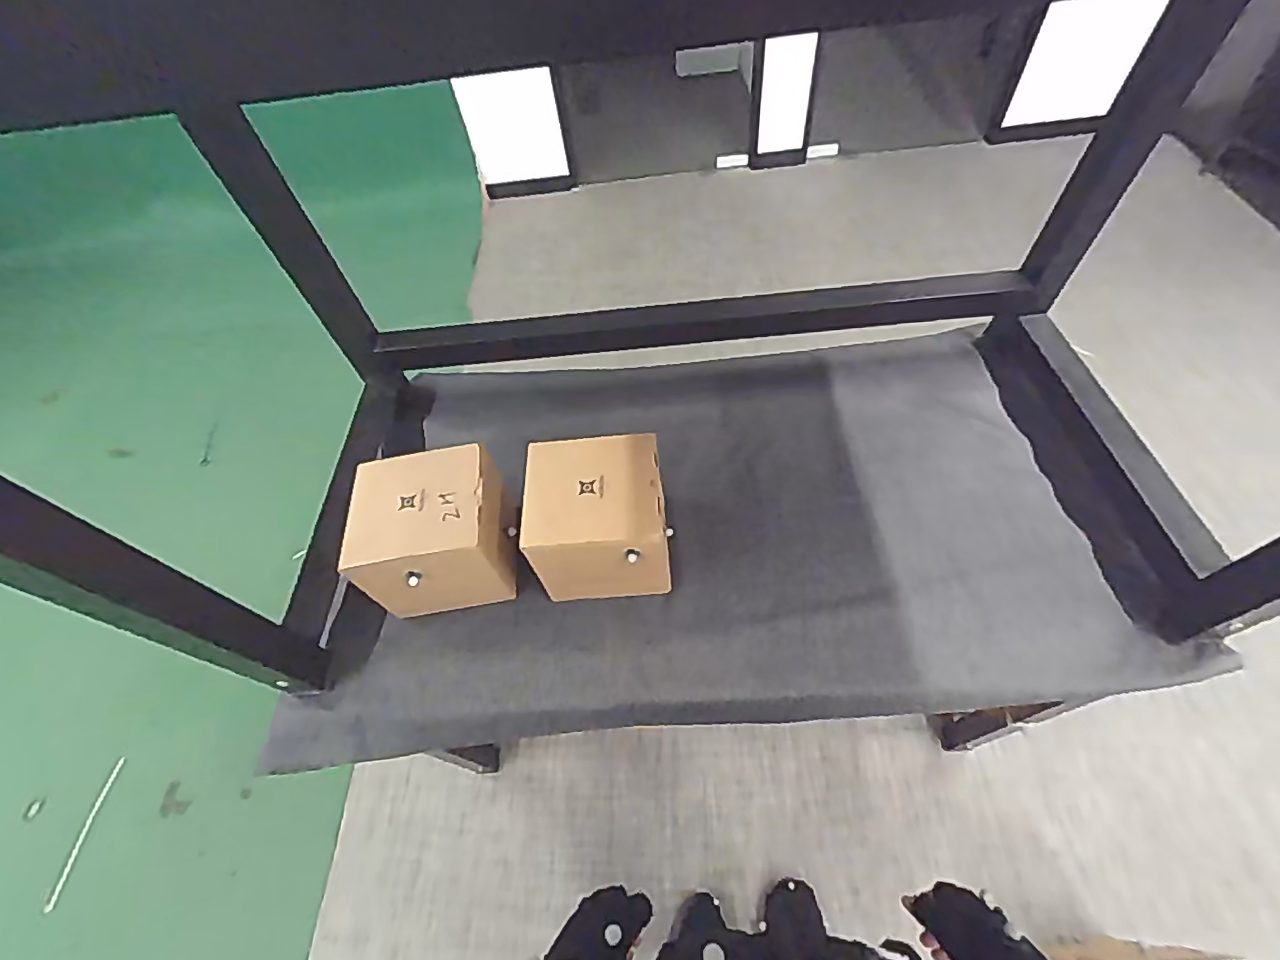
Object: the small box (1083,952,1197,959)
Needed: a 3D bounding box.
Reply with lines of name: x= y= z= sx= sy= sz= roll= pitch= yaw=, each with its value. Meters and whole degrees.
small box: x=0.820 y=0.830 z=0.801 sx=0.168 sy=0.176 sz=0.179 roll=-7 pitch=53 yaw=2
